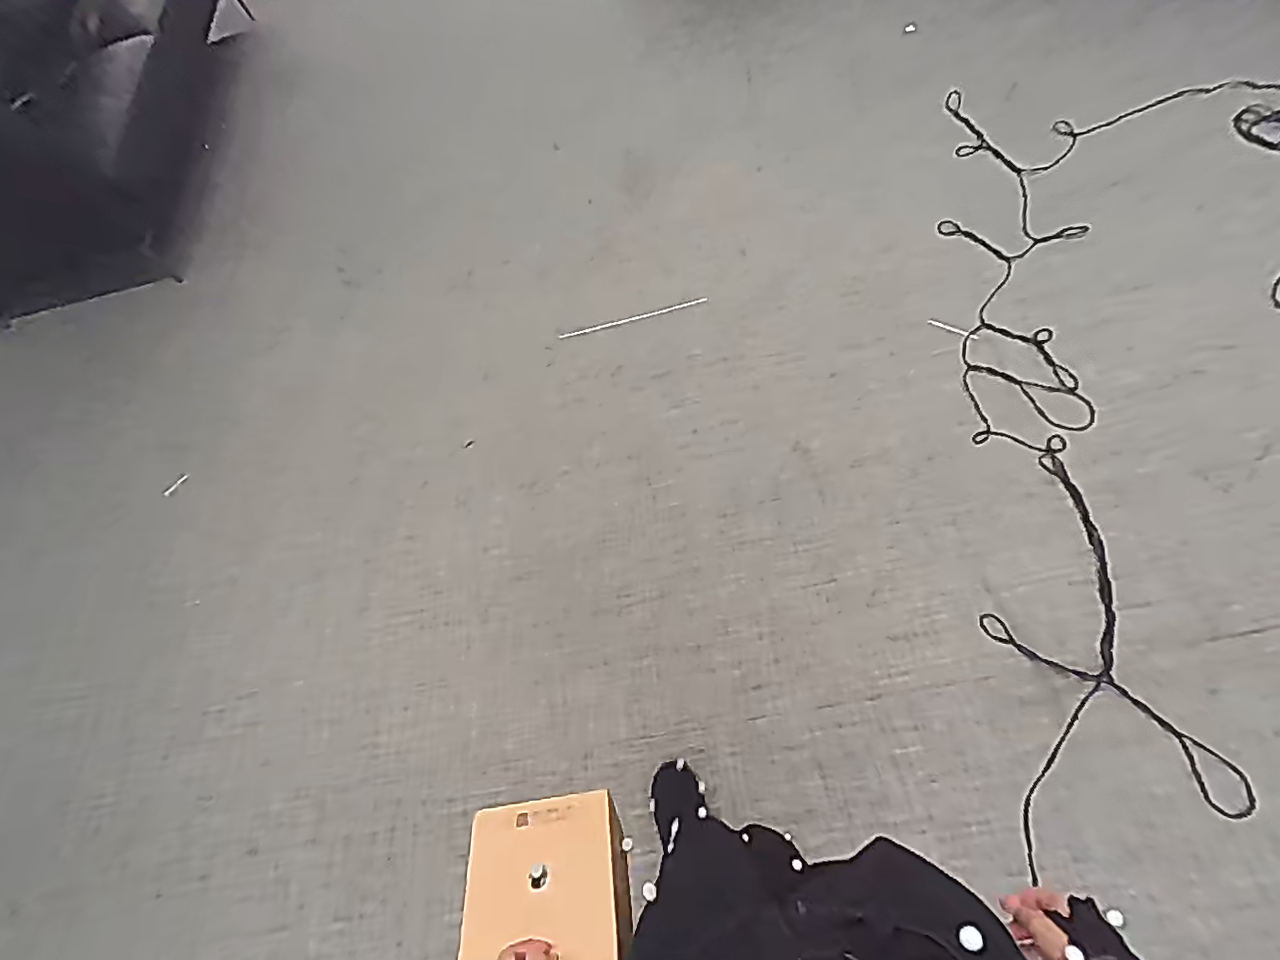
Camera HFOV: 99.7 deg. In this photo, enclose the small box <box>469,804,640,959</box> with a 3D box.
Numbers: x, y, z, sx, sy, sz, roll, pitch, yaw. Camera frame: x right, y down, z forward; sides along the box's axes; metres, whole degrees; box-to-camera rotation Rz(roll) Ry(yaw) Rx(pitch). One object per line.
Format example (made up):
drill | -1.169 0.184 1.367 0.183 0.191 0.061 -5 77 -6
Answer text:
small box | -0.098 0.510 0.643 0.168 0.179 0.176 -11 39 -2
